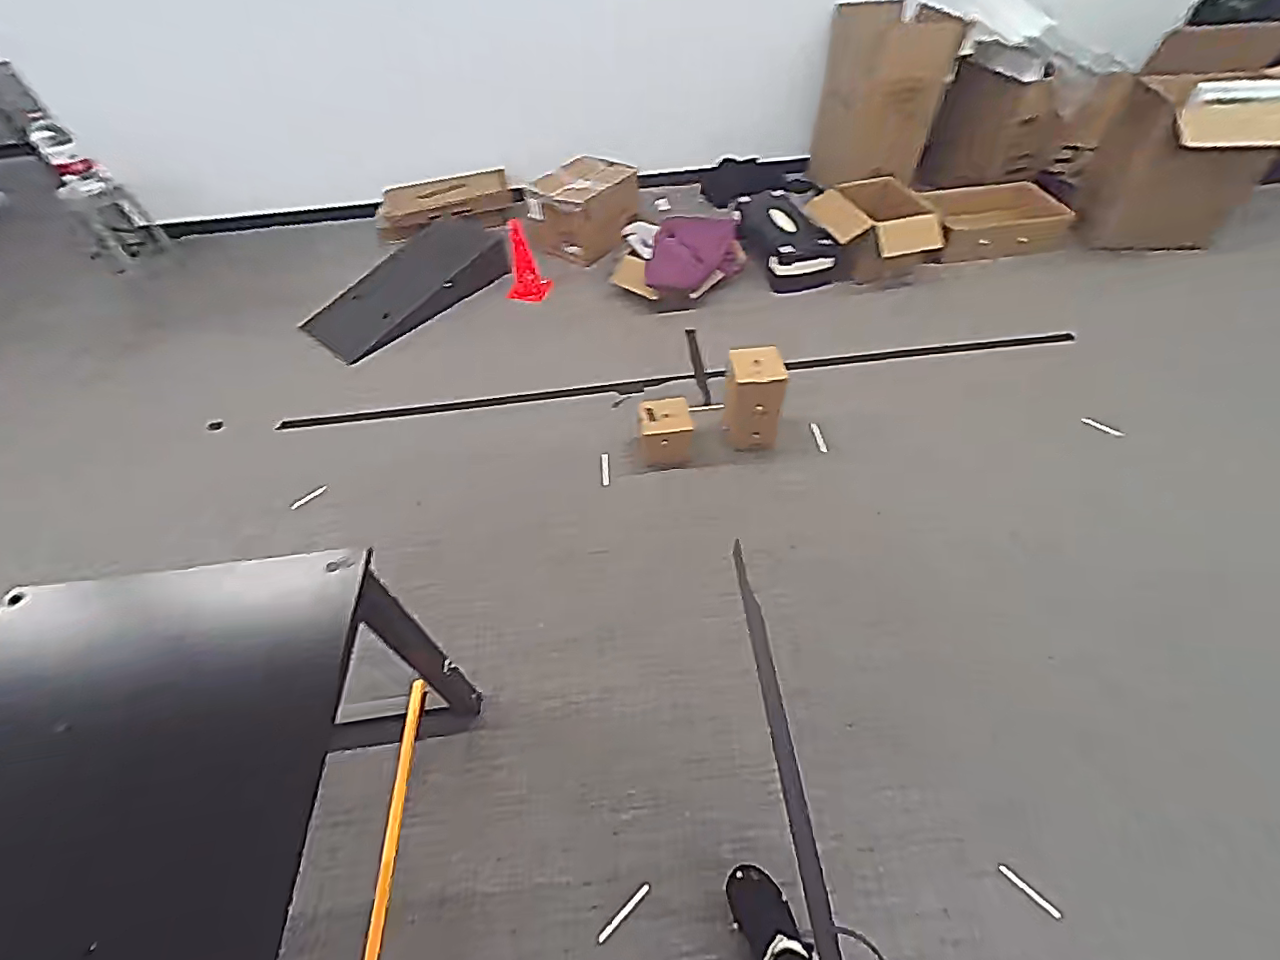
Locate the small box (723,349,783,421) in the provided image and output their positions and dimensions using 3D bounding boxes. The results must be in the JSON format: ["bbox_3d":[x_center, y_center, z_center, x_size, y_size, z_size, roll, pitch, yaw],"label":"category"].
[{"bbox_3d":[0.381,-0.325,1.858,0.168,0.176,0.179,-6,51,0],"label":"small box"}]

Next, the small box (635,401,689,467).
[{"bbox_3d":[0.081,-0.162,1.961,0.179,0.176,0.168,-8,50,-2],"label":"small box"}]

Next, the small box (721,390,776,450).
[{"bbox_3d":[0.395,-0.224,1.990,0.168,0.176,0.179,-7,51,-1],"label":"small box"}]
